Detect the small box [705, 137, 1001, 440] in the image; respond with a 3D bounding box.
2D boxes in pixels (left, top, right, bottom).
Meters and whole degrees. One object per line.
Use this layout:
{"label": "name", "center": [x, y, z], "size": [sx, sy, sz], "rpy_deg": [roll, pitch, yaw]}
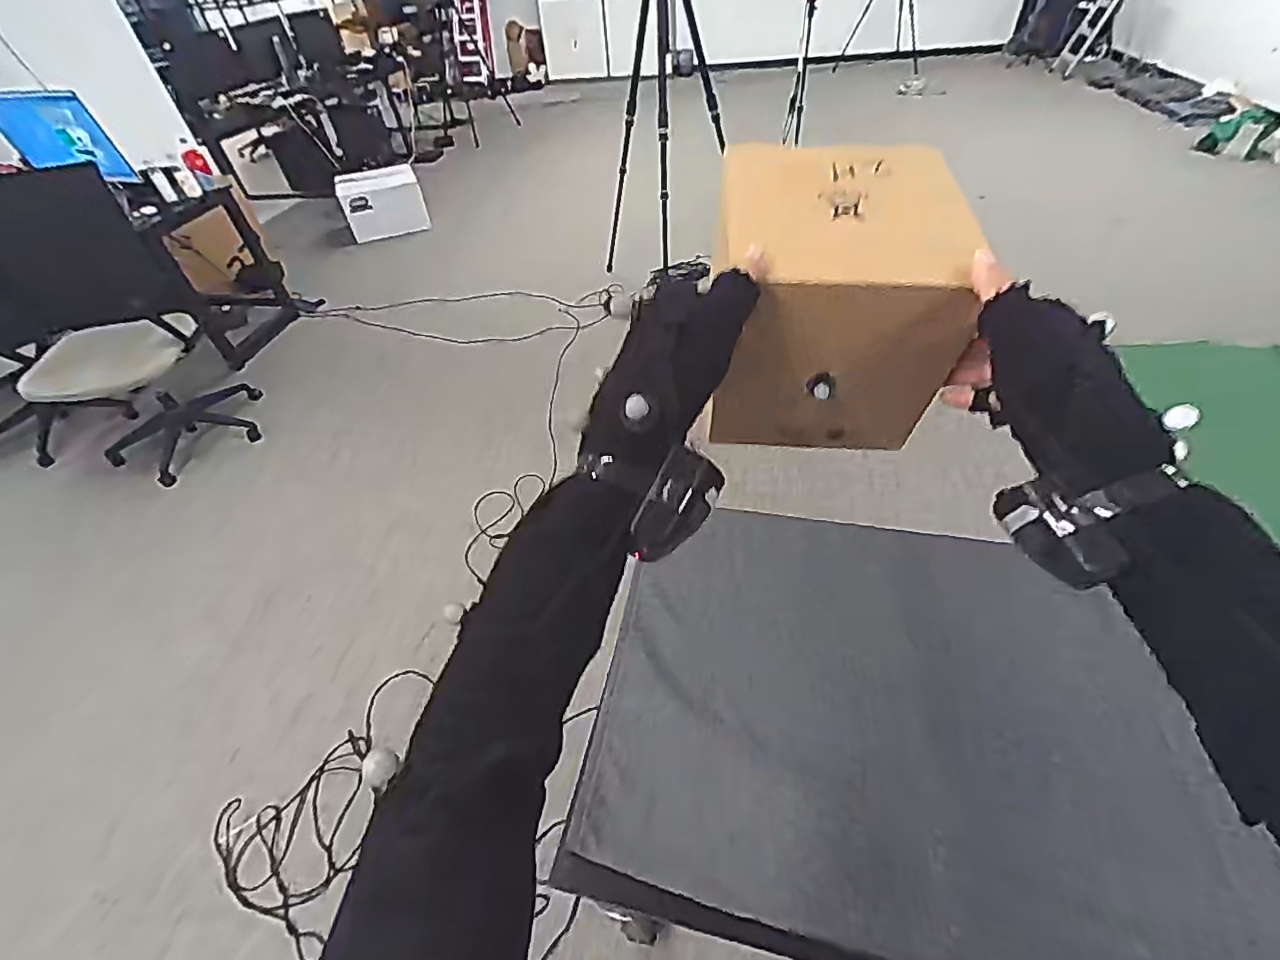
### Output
{"label": "small box", "center": [0.143, -0.149, 0.438], "size": [0.168, 0.176, 0.179], "rpy_deg": [3, 55, 3]}
